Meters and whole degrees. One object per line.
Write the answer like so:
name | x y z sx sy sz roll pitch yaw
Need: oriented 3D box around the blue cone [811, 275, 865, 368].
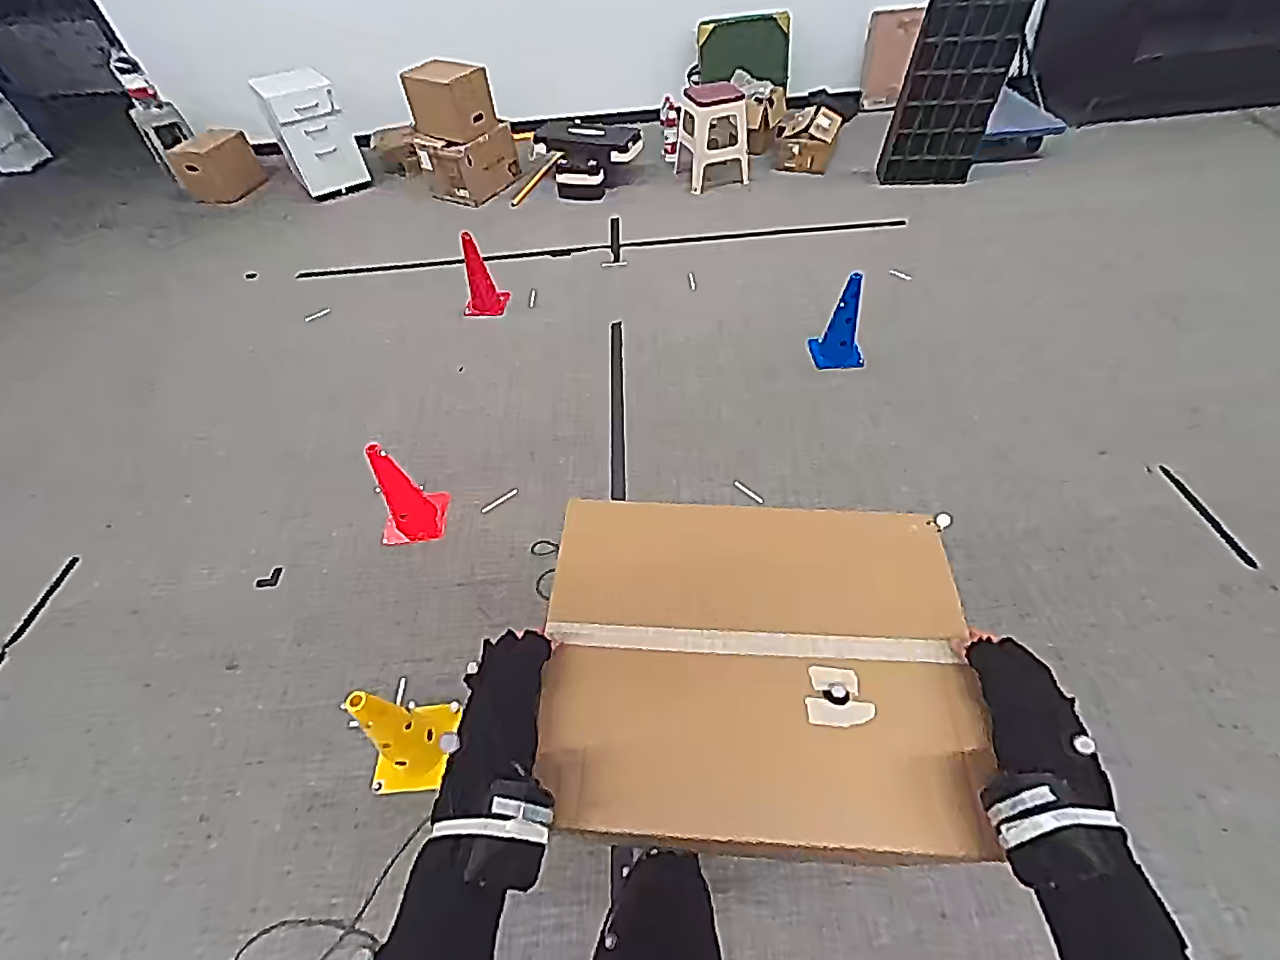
blue cone | 0.823 -0.640 2.166 0.192 0.380 0.193 -1 50 2

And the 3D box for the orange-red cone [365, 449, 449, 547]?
orange-red cone | -0.775 0.033 1.721 0.198 0.360 0.199 -7 51 0

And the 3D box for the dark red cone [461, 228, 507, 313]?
dark red cone | -0.770 -0.981 2.536 0.201 0.394 0.202 1 50 4

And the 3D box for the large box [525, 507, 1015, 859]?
large box | 0.109 0.247 0.640 0.408 0.320 0.320 2 54 3
